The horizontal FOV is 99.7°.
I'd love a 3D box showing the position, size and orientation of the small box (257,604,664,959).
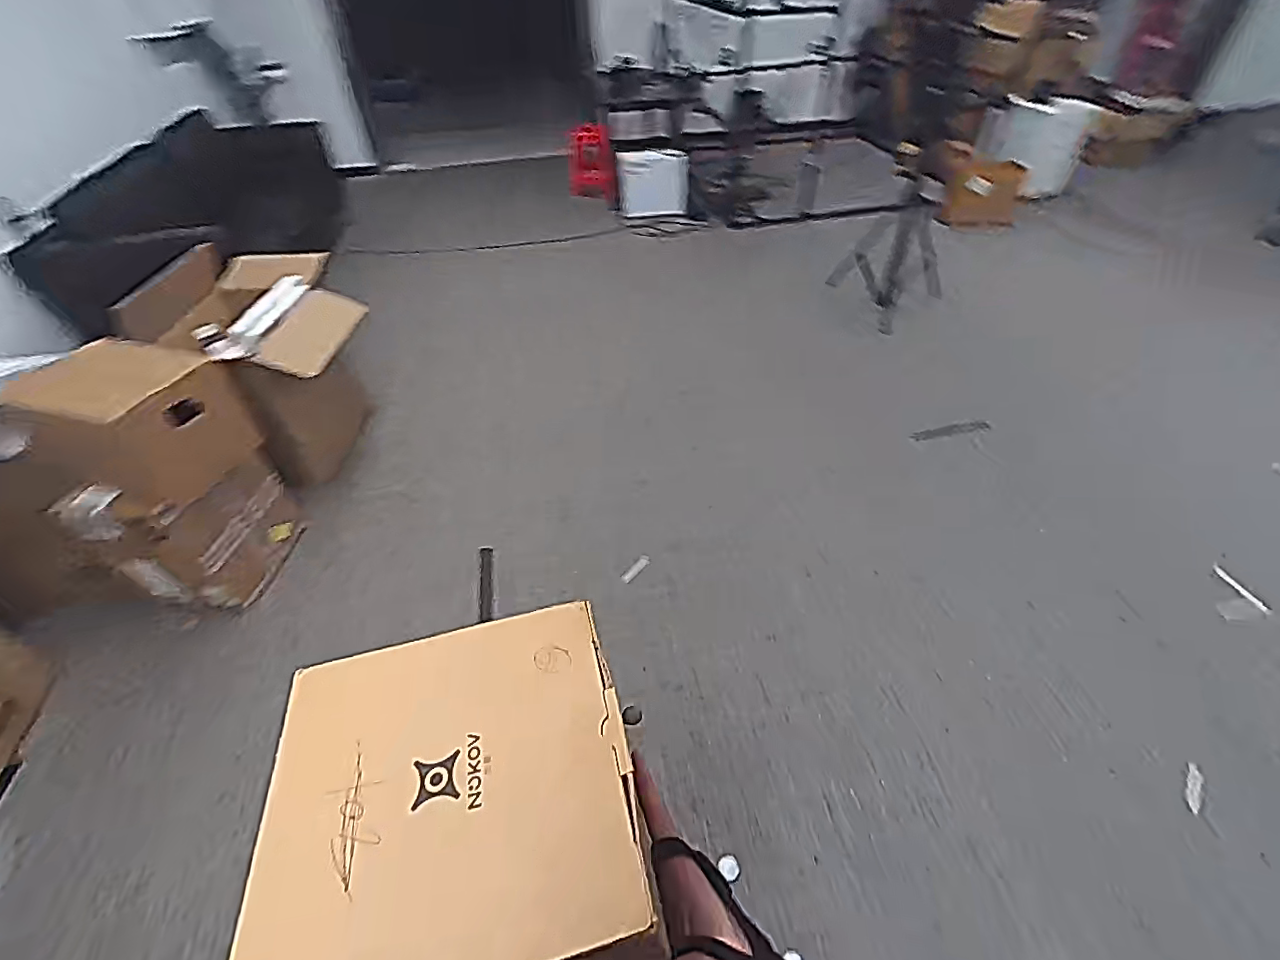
[{"bbox_3d":[-0.085,0.207,0.336,0.179,0.176,0.168,-13,44,-5],"label":"small box"}]
